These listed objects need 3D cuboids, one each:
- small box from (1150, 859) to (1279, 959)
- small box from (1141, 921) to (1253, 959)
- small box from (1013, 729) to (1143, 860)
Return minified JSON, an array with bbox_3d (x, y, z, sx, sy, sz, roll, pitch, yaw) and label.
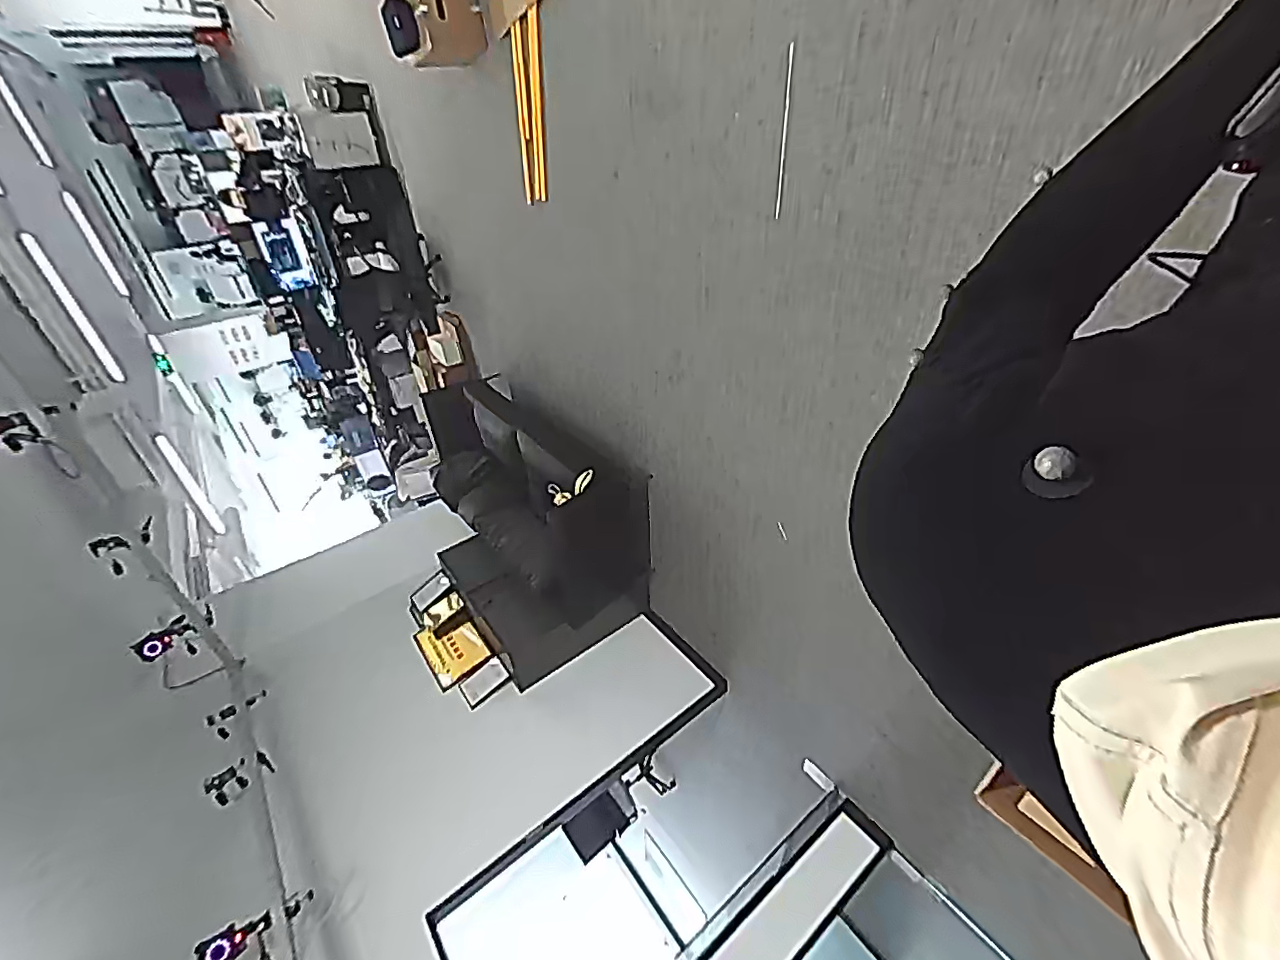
[{"bbox_3d":[1.226,0.942,1.119,0.168,0.176,0.179,36,141,38],"label":"small box"},{"bbox_3d":[1.098,1.006,1.039,0.168,0.176,0.179,38,142,36],"label":"small box"},{"bbox_3d":[1.024,0.727,1.265,0.168,0.176,0.179,36,142,40],"label":"small box"}]
